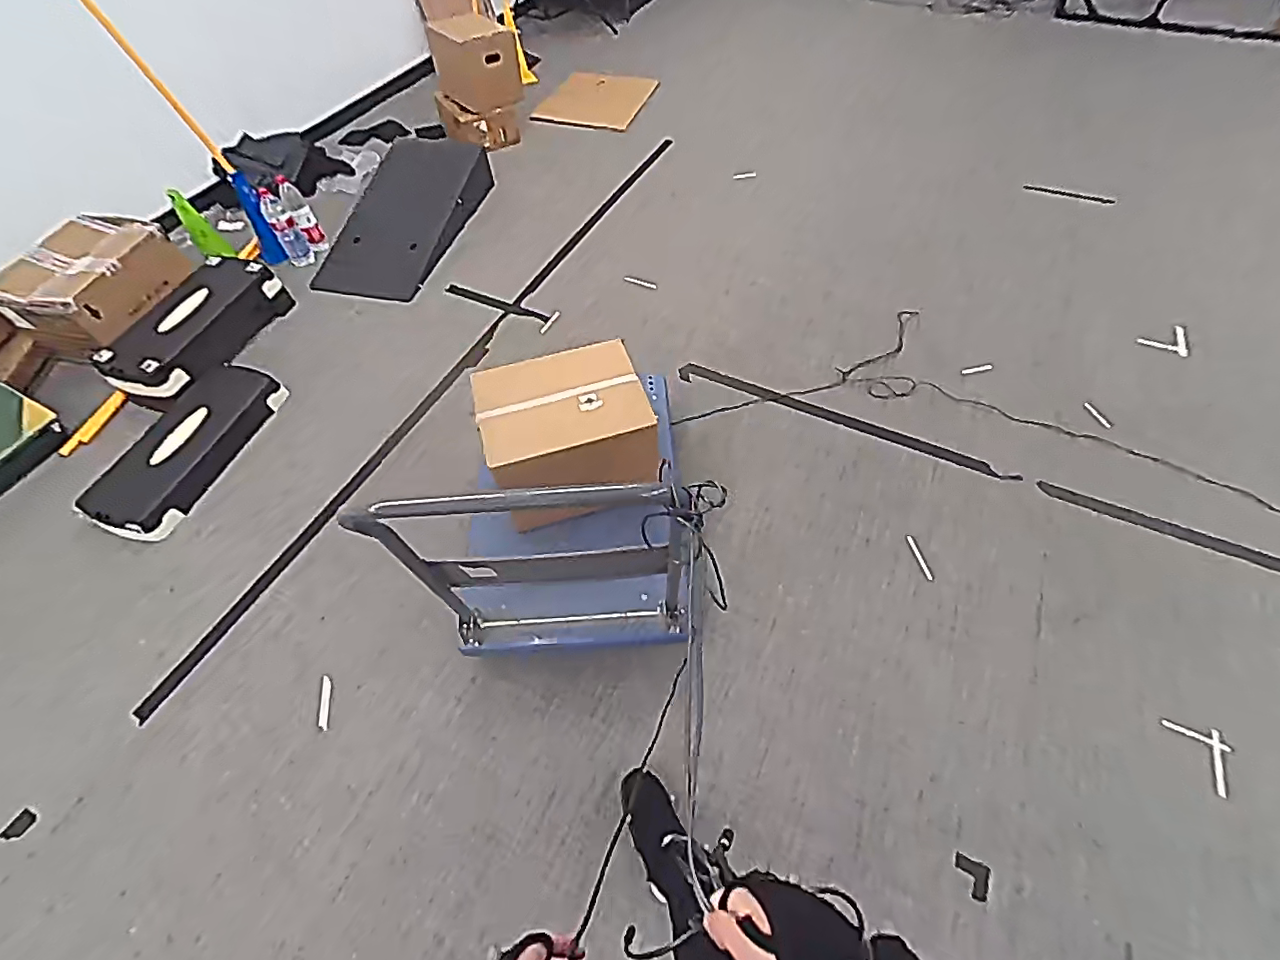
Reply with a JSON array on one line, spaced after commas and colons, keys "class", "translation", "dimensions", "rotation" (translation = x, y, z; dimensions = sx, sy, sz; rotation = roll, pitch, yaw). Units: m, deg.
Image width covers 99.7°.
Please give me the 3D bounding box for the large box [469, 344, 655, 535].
[{"class": "large box", "translation": [-0.196, -0.104, 1.438], "dimensions": [0.408, 0.320, 0.320], "rotation": [-16, 57, -9]}]
